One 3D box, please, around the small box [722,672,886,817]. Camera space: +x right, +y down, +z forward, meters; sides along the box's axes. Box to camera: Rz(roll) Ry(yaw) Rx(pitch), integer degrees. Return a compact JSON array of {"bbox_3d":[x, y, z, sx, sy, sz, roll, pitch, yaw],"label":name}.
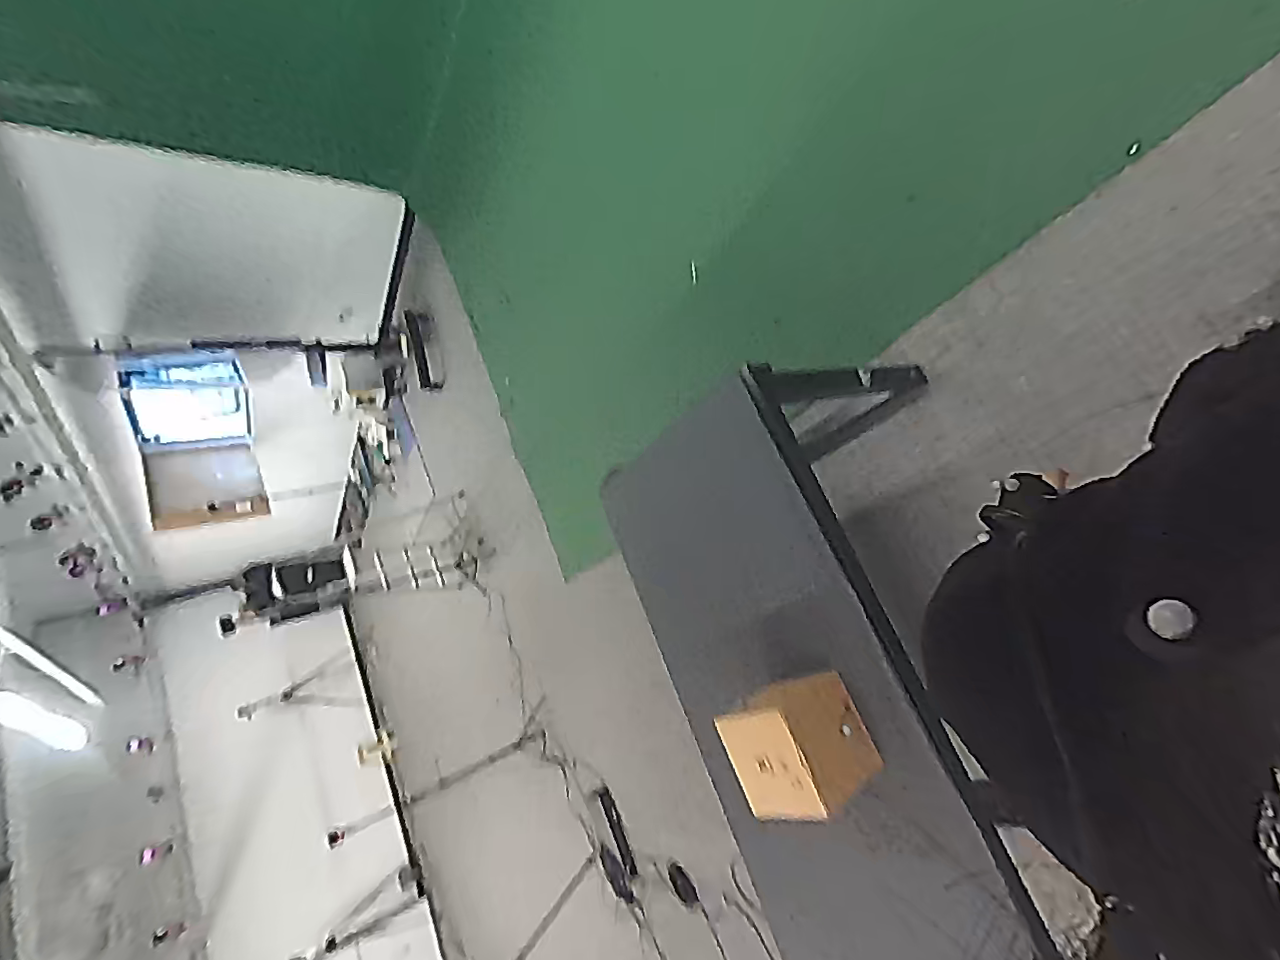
[{"bbox_3d":[0.281,0.453,0.936,0.179,0.176,0.168,-43,66,49],"label":"small box"}]
